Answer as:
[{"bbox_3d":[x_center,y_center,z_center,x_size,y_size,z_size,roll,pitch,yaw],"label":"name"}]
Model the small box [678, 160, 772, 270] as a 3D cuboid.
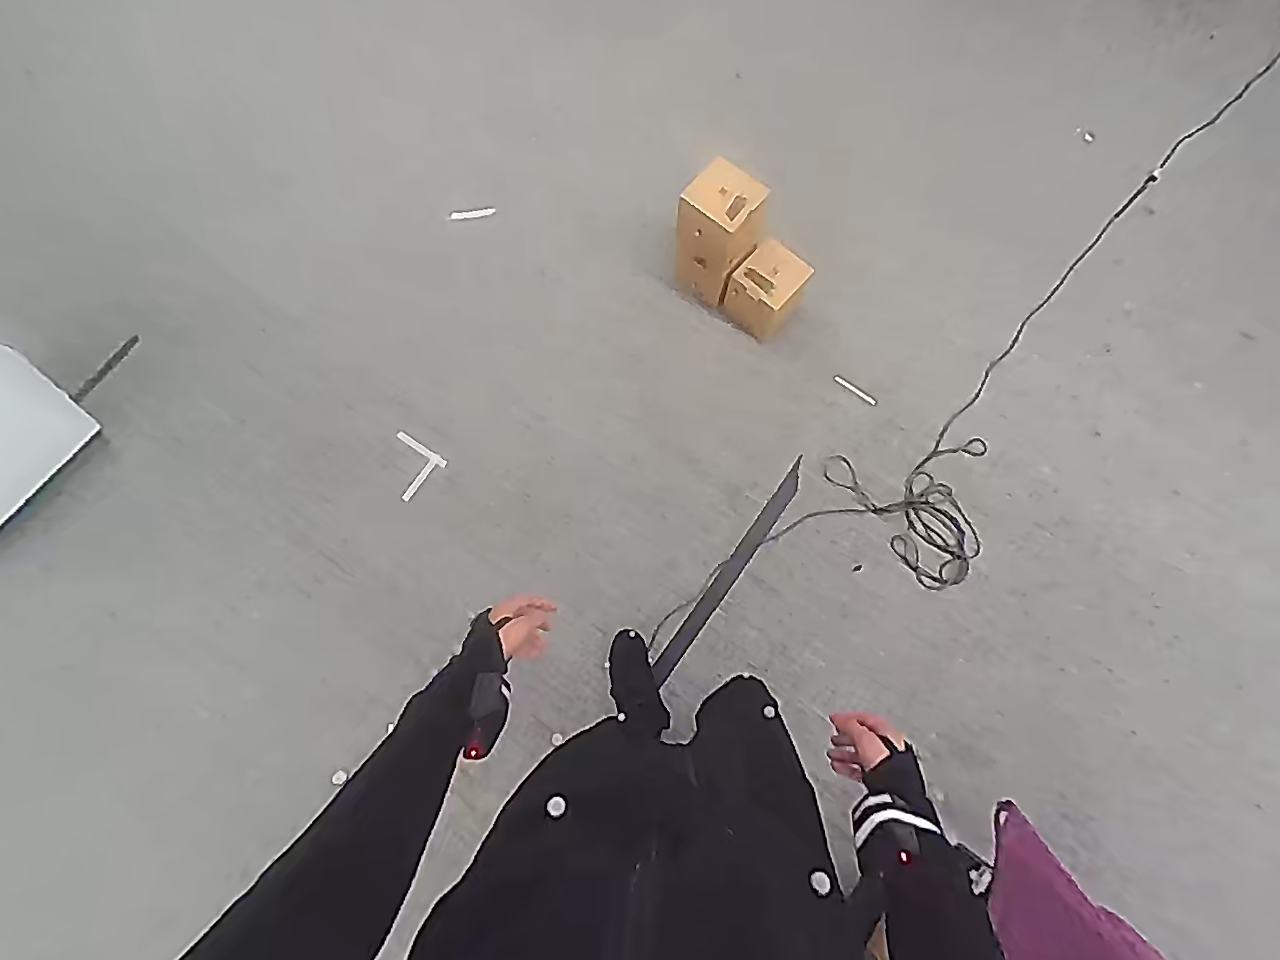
[{"bbox_3d":[0.220,-0.696,1.448,0.179,0.176,0.168,40,80,10],"label":"small box"}]
